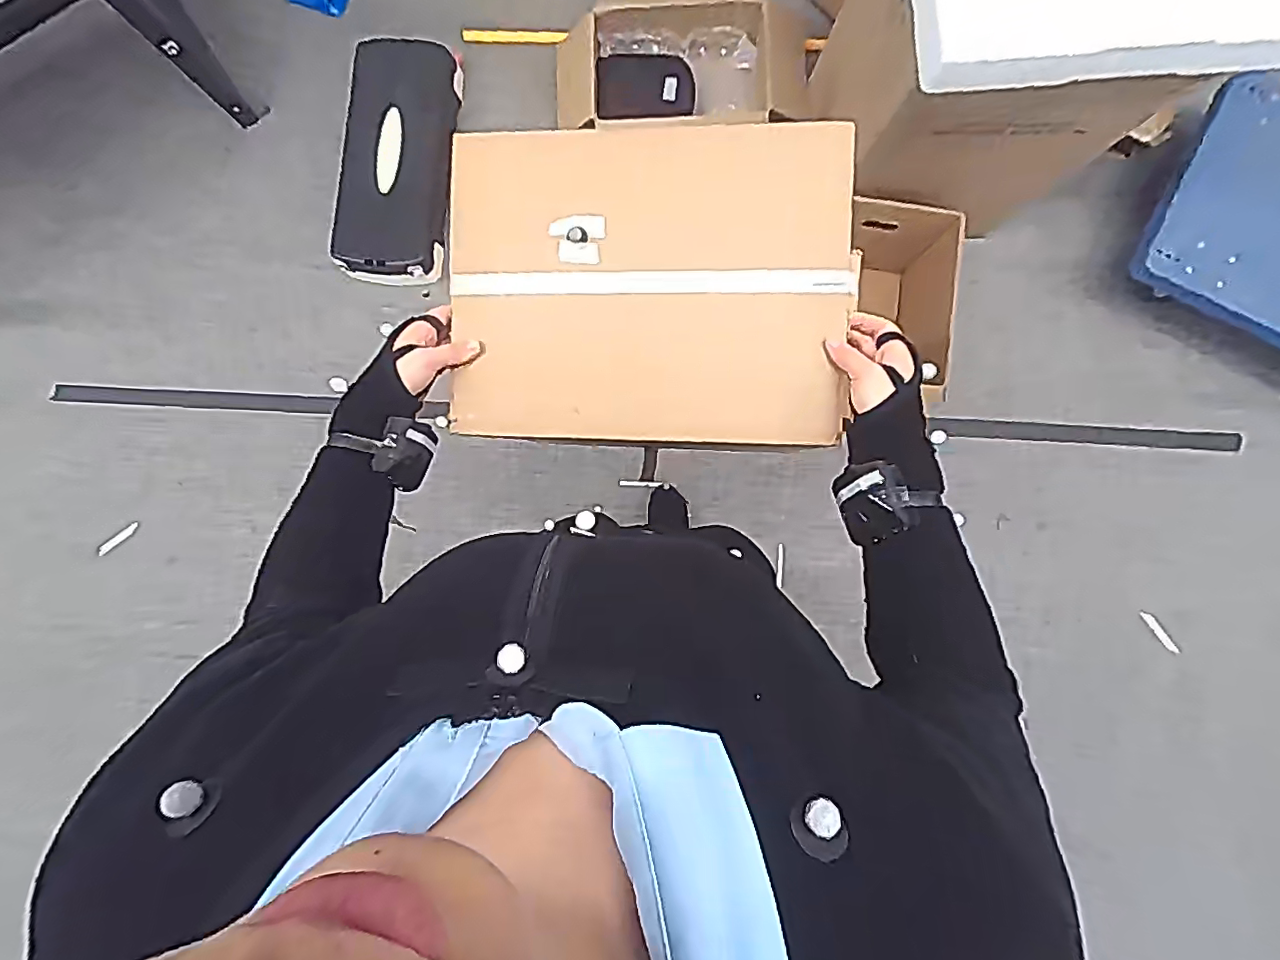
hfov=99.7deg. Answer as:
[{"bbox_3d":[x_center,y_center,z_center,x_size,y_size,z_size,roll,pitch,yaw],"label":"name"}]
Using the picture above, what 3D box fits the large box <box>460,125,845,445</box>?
[{"bbox_3d":[0.025,-0.203,0.706,0.408,0.320,0.320,2,91,8],"label":"large box"}]
